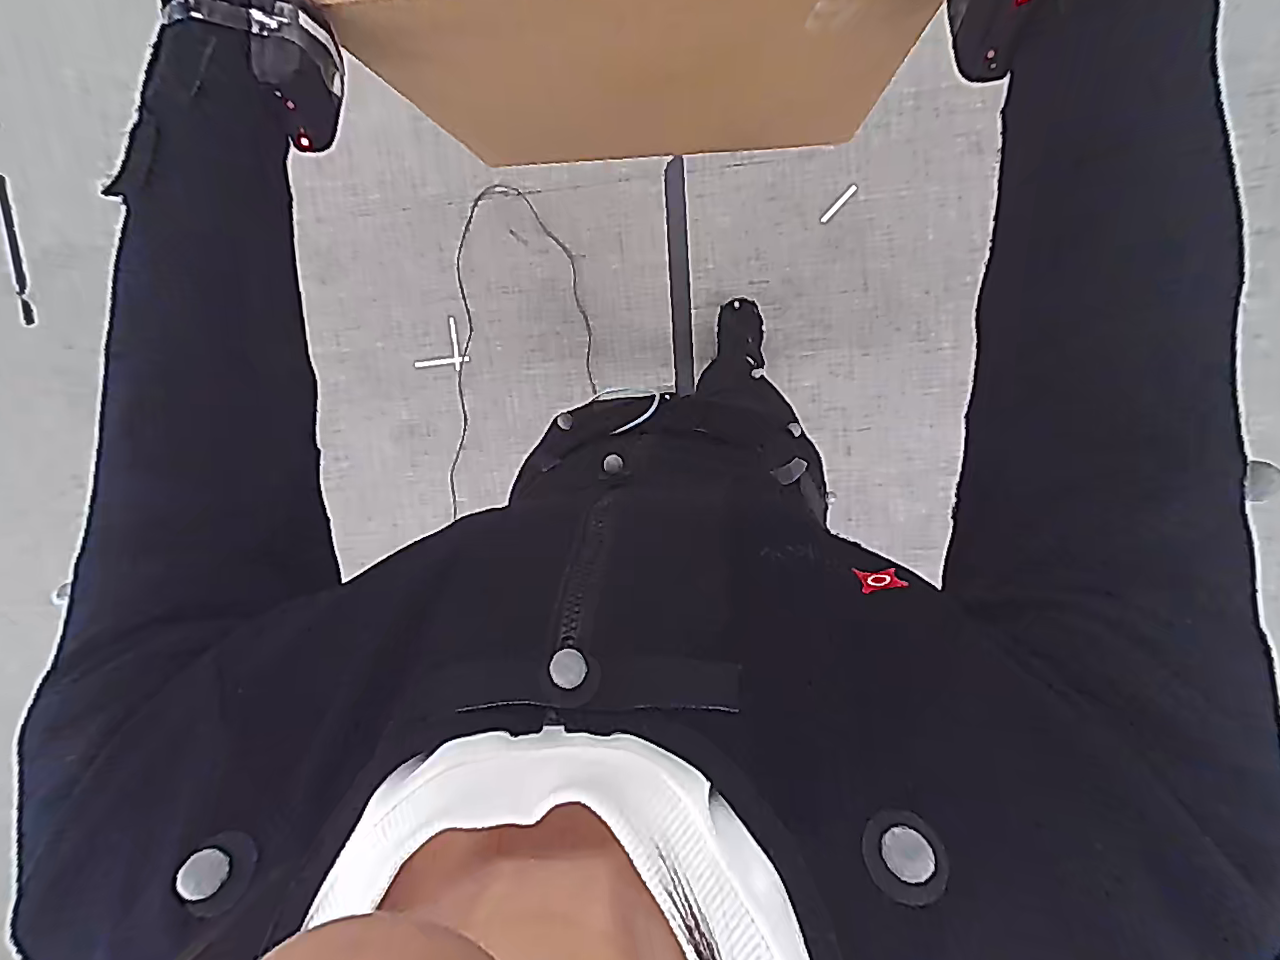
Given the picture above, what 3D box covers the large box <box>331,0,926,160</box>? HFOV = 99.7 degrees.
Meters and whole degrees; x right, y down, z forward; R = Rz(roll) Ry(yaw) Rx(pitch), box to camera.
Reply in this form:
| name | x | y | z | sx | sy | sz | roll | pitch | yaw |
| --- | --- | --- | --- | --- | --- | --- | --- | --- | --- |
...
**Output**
| name | x | y | z | sx | sy | sz | roll | pitch | yaw |
| --- | --- | --- | --- | --- | --- | --- | --- | --- | --- |
| large box | 0.003 | -0.485 | 0.423 | 0.408 | 0.320 | 0.320 | -1 | 104 | 7 |
